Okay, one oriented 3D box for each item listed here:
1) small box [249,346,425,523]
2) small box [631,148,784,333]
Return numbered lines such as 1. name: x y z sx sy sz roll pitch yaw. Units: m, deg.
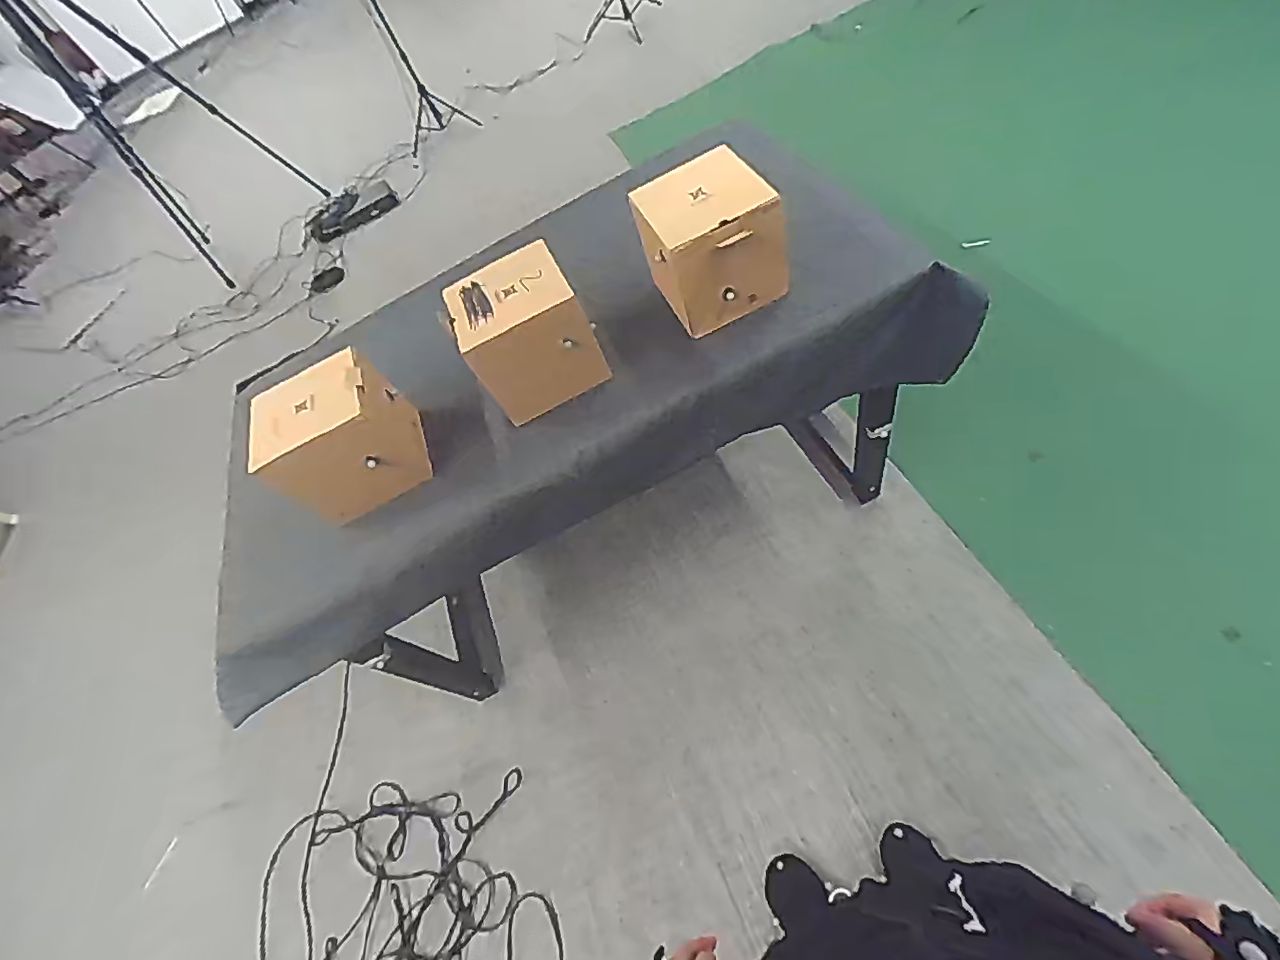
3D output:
1. small box: -0.454 -0.065 0.832 0.179 0.176 0.168 -29 54 0
2. small box: 0.106 -0.362 0.832 0.168 0.176 0.179 -26 56 1
